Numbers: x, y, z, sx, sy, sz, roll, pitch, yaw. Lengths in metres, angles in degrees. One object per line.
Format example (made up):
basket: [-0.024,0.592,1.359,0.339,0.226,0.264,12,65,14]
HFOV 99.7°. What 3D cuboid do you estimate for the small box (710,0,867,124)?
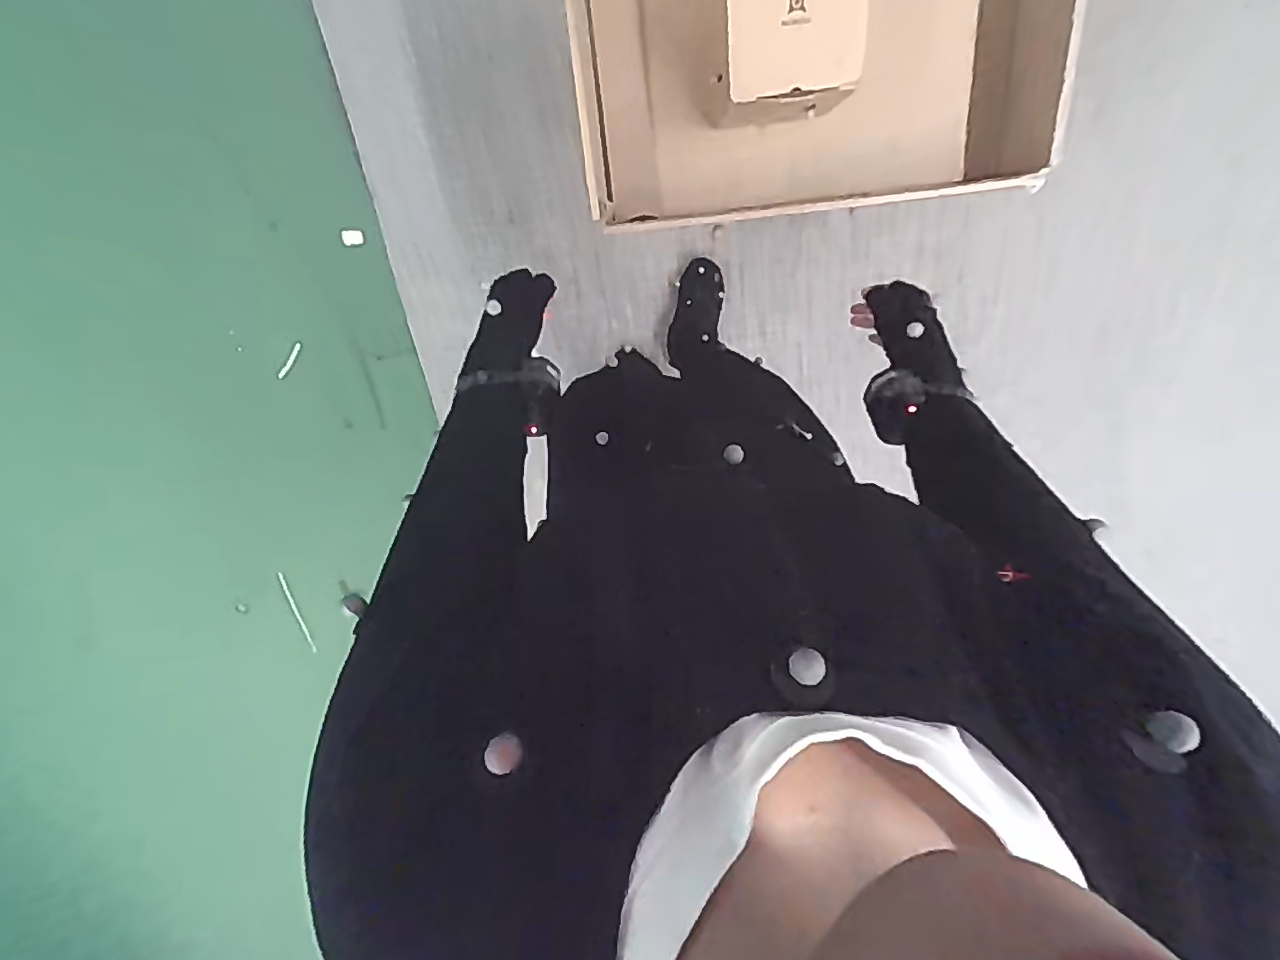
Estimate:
small box: [0.185,-0.587,0.708,0.168,0.176,0.179,-6,112,2]
